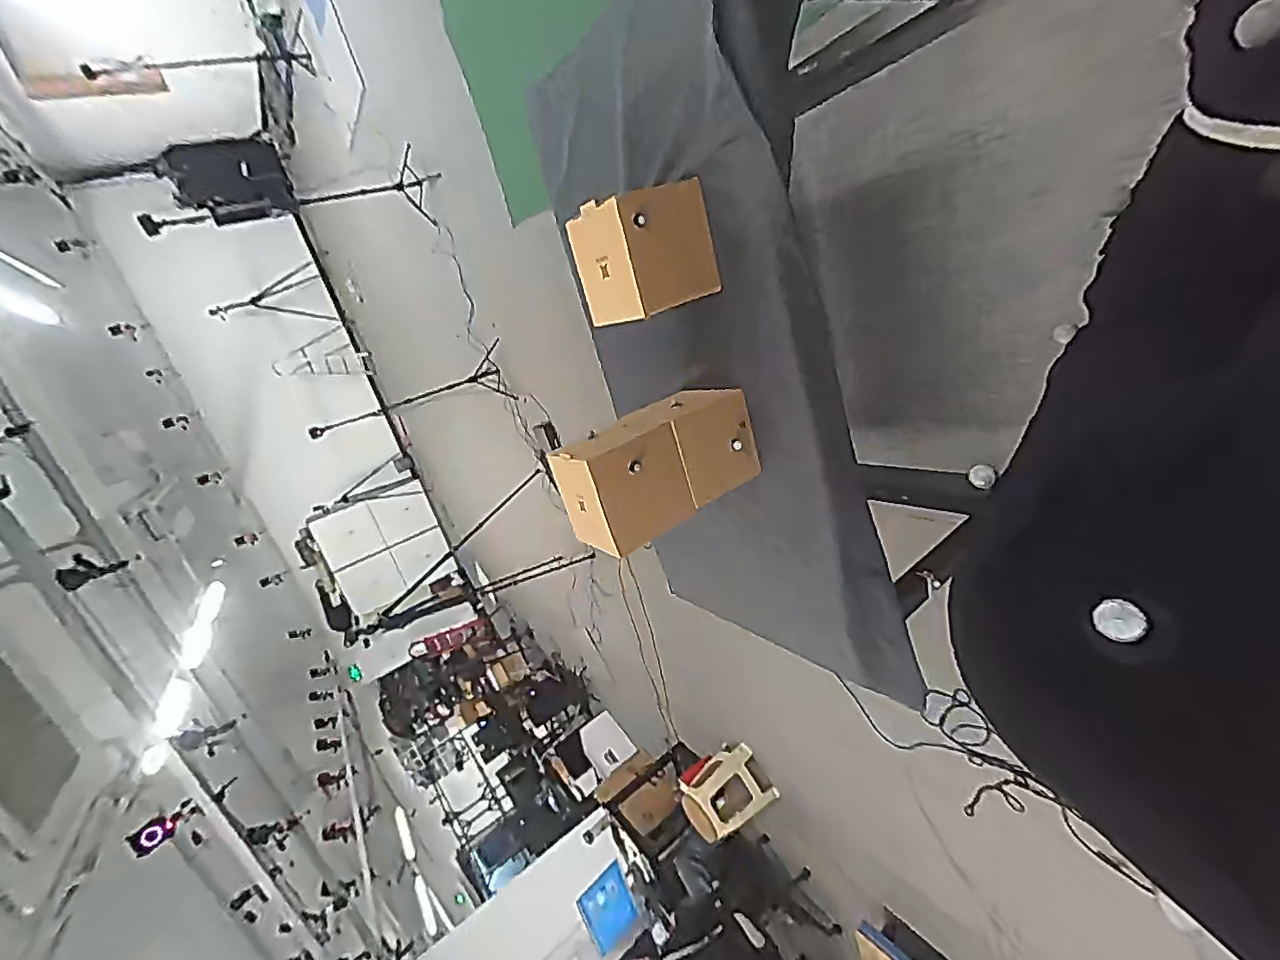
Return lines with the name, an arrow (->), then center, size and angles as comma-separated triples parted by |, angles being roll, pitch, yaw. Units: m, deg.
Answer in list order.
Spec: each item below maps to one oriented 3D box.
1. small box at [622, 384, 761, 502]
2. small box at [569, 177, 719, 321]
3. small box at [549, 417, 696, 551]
small box -> 0.097, -0.076, 1.020 | 0.179, 0.176, 0.168 | 11, 124, 56
small box -> 0.011, -0.381, 0.906 | 0.168, 0.176, 0.179 | 15, 126, 55
small box -> -0.029, -0.005, 0.946 | 0.168, 0.176, 0.179 | 11, 124, 58
